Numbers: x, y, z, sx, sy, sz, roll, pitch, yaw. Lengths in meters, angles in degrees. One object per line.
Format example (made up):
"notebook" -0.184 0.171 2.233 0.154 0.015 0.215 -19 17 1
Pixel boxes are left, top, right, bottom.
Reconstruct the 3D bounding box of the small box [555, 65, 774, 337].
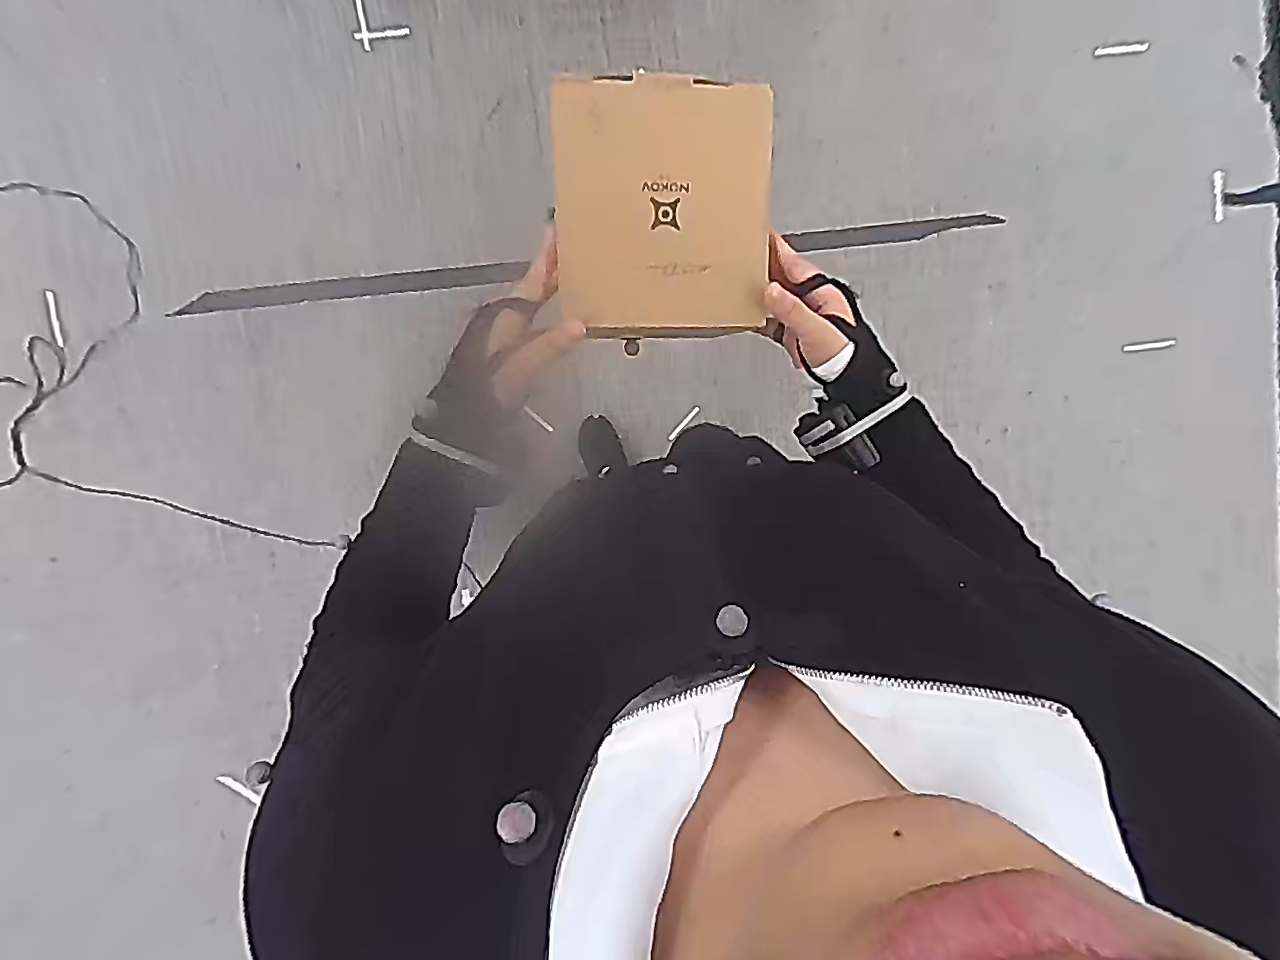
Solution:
"small box" 0.009 -0.225 0.484 0.168 0.176 0.179 -2 102 -7
